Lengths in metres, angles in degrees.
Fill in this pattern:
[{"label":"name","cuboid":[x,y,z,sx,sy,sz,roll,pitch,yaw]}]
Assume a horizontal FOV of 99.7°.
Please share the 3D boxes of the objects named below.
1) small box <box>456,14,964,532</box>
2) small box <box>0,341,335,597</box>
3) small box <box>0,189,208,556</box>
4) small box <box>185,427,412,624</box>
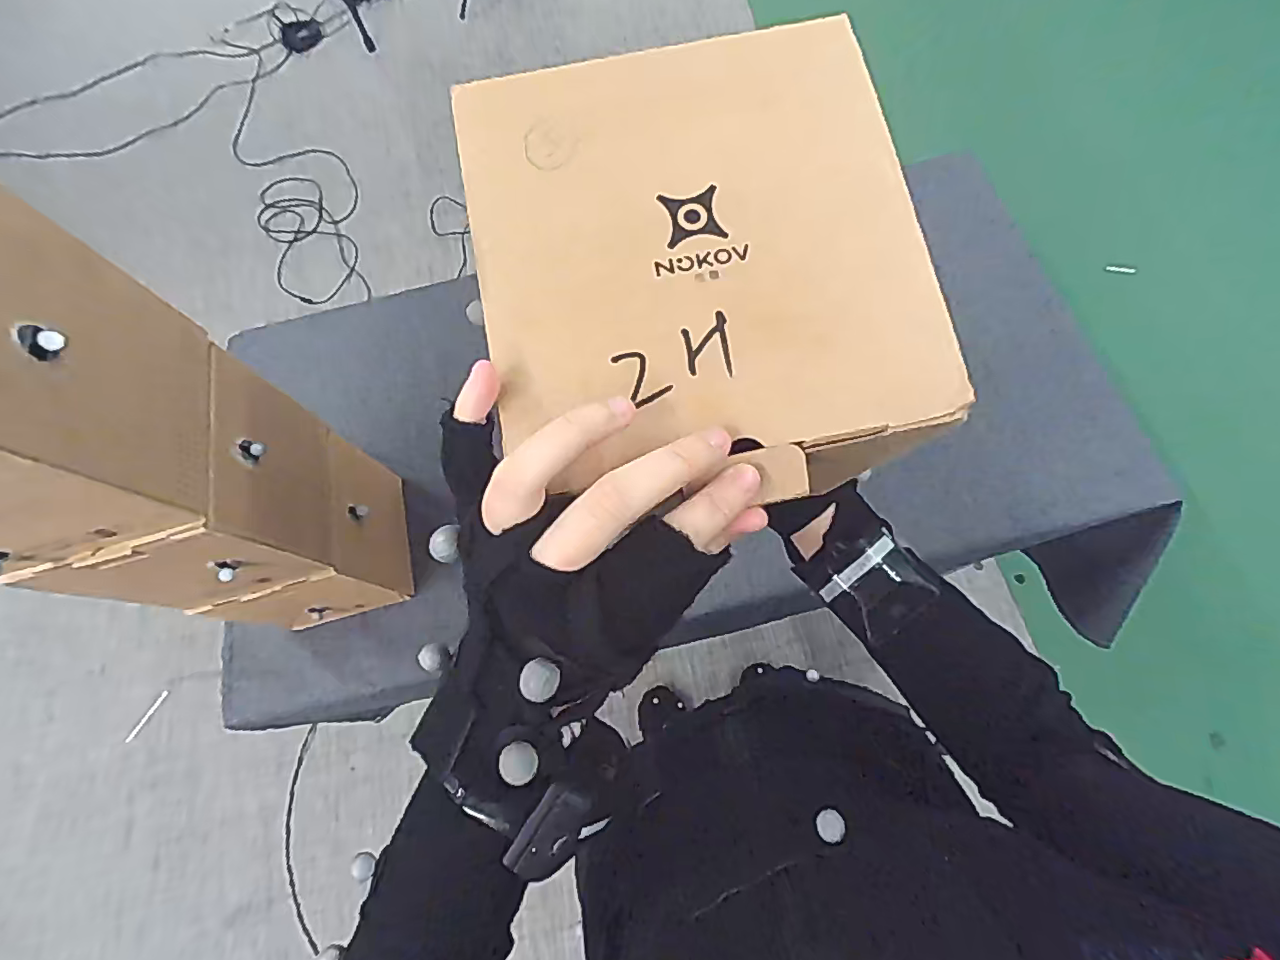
[{"label":"small box","cuboid":[0.020,-0.078,0.281,0.168,0.176,0.179,-10,79,0]},{"label":"small box","cuboid":[-0.414,0.005,0.508,0.168,0.176,0.179,-14,69,-1]},{"label":"small box","cuboid":[-0.430,-0.057,0.357,0.168,0.176,0.179,-16,69,-2]},{"label":"small box","cuboid":[-0.400,0.064,0.659,0.168,0.176,0.179,-16,70,0]}]
